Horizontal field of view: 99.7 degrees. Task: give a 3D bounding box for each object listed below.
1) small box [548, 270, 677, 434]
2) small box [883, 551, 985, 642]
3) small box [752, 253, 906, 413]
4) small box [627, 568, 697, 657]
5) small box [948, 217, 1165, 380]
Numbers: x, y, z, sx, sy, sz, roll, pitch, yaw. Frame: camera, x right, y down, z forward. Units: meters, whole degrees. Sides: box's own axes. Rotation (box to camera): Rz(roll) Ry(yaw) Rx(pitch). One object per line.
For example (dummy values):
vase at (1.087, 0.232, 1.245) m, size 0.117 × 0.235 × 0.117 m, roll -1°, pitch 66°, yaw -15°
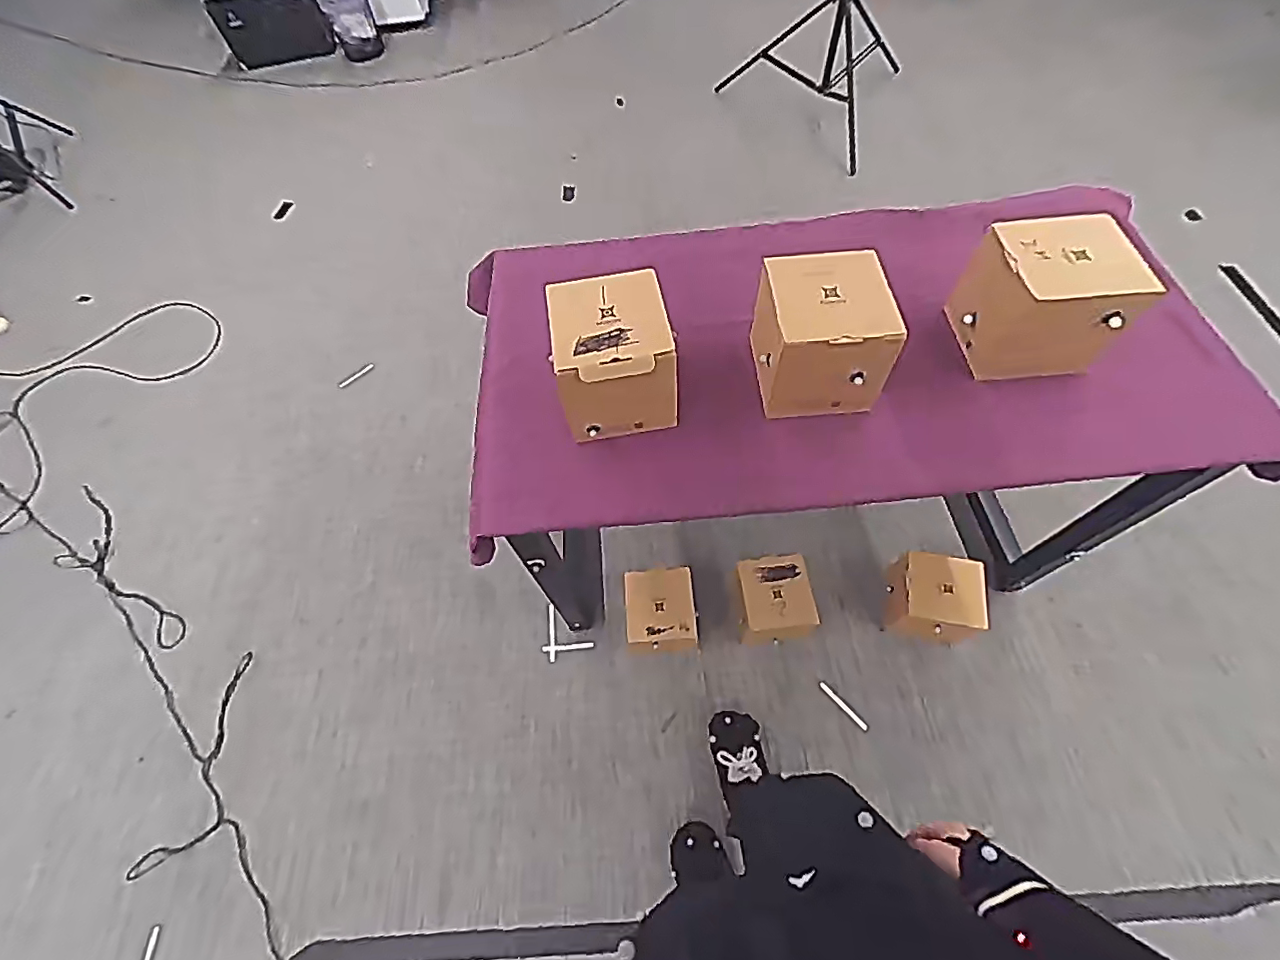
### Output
small box at (-0.038, -0.185, 0.825) m, size 0.168 × 0.176 × 0.179 m, roll -9°, pitch 59°, yaw -2°
small box at (0.725, 0.295, 1.346) m, size 0.179 × 0.176 × 0.168 m, roll 9°, pitch 63°, yaw 10°
small box at (0.272, -0.215, 0.823) m, size 0.168 × 0.176 × 0.179 m, roll -4°, pitch 59°, yaw 1°
small box at (0.053, 0.337, 1.367) m, size 0.168 × 0.176 × 0.179 m, roll -3°, pitch 60°, yaw 2°
small box at (0.616, -0.271, 0.829) m, size 0.179 × 0.176 × 0.168 m, roll -4°, pitch 60°, yaw 2°
